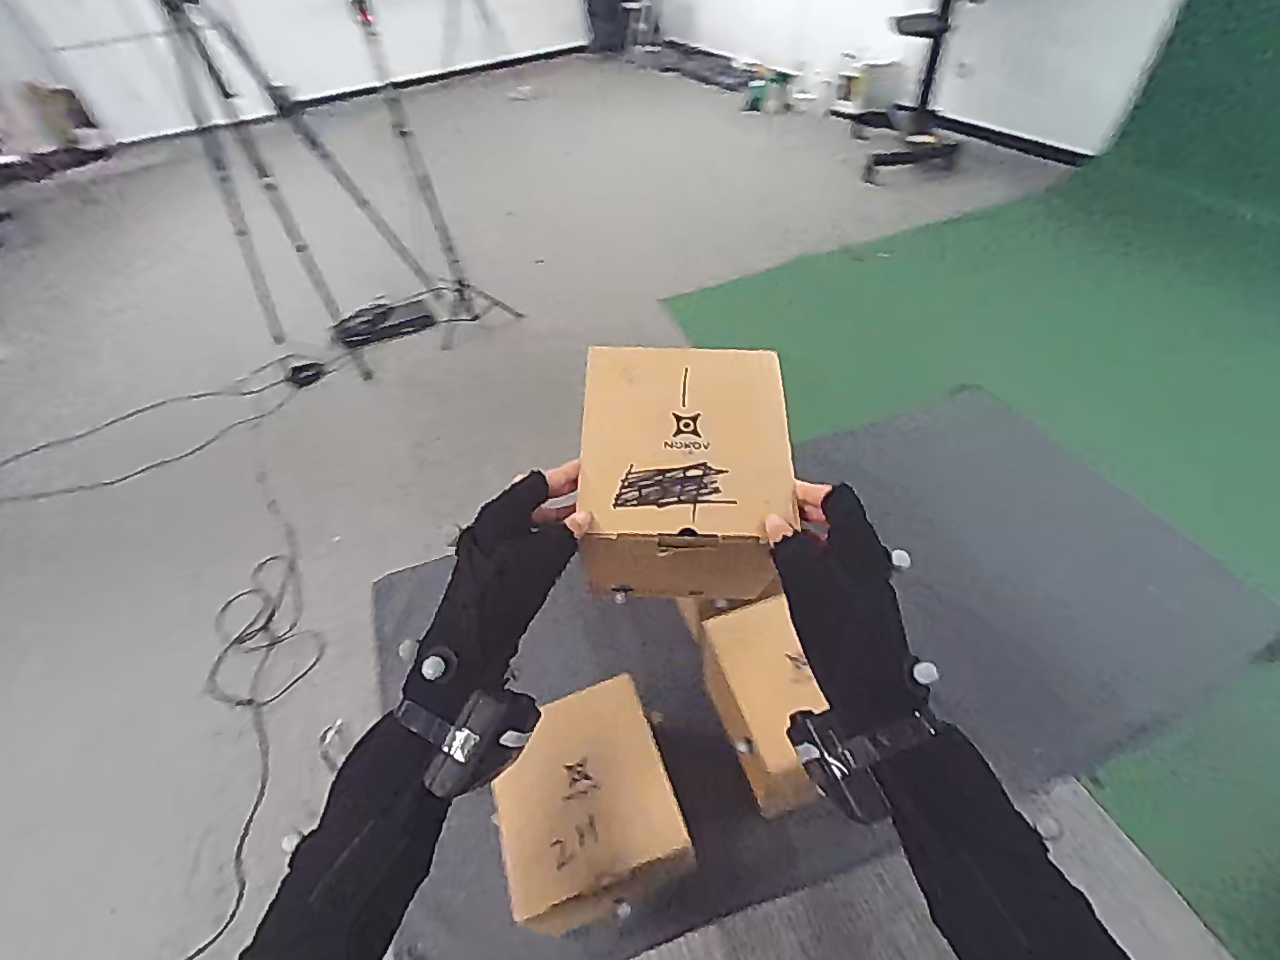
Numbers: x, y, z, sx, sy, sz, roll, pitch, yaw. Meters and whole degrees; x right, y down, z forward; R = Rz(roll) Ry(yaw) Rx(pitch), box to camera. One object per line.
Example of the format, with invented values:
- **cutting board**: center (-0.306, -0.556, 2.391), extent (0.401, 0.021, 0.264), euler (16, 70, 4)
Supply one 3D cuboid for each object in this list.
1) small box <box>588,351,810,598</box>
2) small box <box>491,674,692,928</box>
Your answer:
- **small box**: center (0.047, 0.004, 0.502), extent (0.168, 0.176, 0.179), euler (2, 62, 0)
- **small box**: center (-0.051, 0.352, 0.595), extent (0.168, 0.176, 0.179), euler (-19, 48, -10)
